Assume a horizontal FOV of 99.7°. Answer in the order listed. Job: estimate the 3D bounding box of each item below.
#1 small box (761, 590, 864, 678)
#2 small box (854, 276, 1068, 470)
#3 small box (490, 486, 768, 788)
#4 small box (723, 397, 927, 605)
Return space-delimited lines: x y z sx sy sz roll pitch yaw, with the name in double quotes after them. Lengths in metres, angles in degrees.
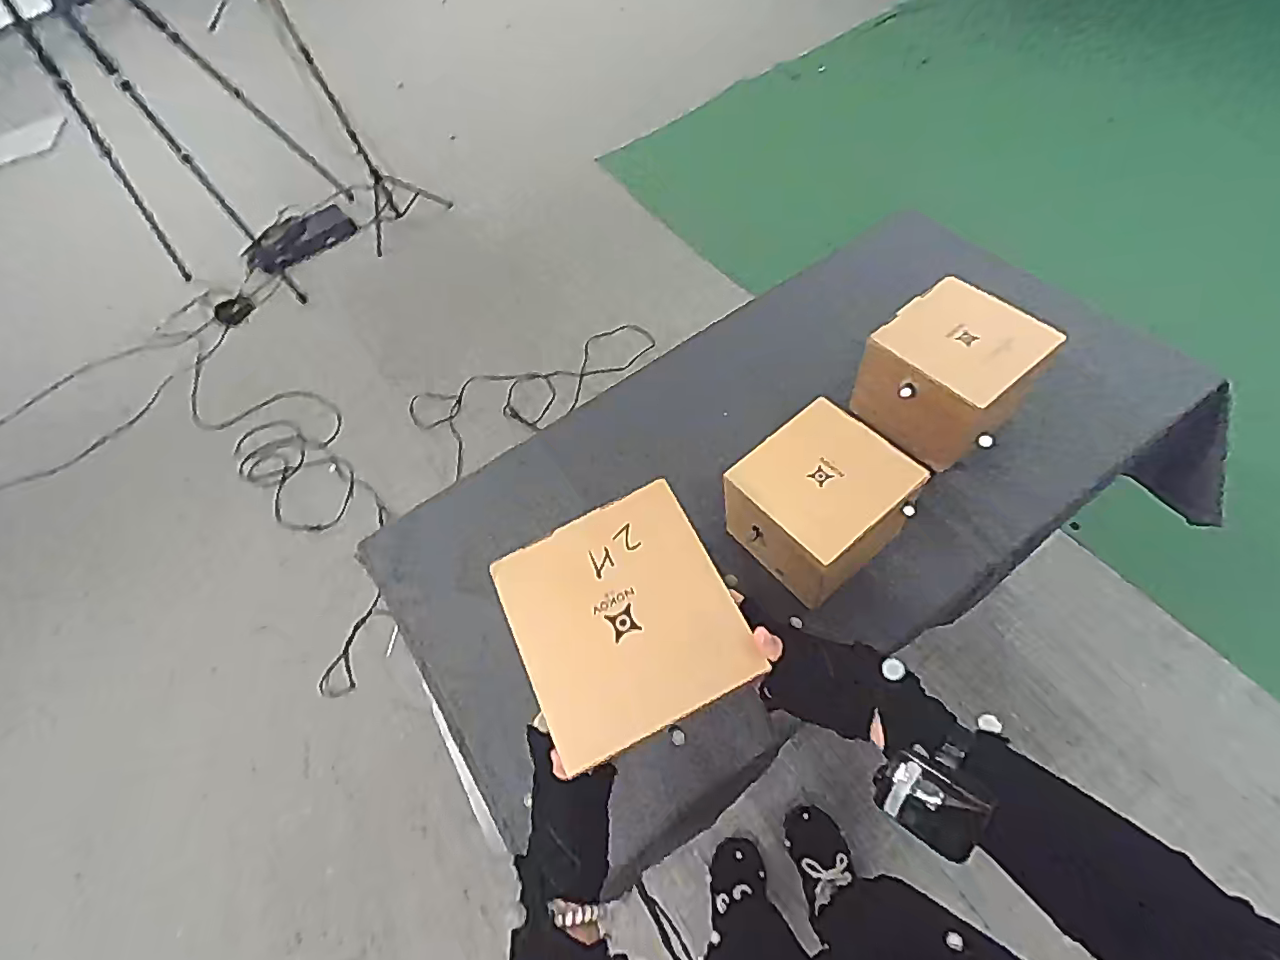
0.413 0.360 1.331 0.179 0.176 0.168 -36 61 -10 "small box"
0.436 -0.147 0.771 0.168 0.176 0.179 -36 61 -10 "small box"
-0.004 0.138 0.483 0.168 0.176 0.179 -27 66 -3 "small box"
0.229 0.034 0.705 0.179 0.176 0.168 -38 61 -12 "small box"
